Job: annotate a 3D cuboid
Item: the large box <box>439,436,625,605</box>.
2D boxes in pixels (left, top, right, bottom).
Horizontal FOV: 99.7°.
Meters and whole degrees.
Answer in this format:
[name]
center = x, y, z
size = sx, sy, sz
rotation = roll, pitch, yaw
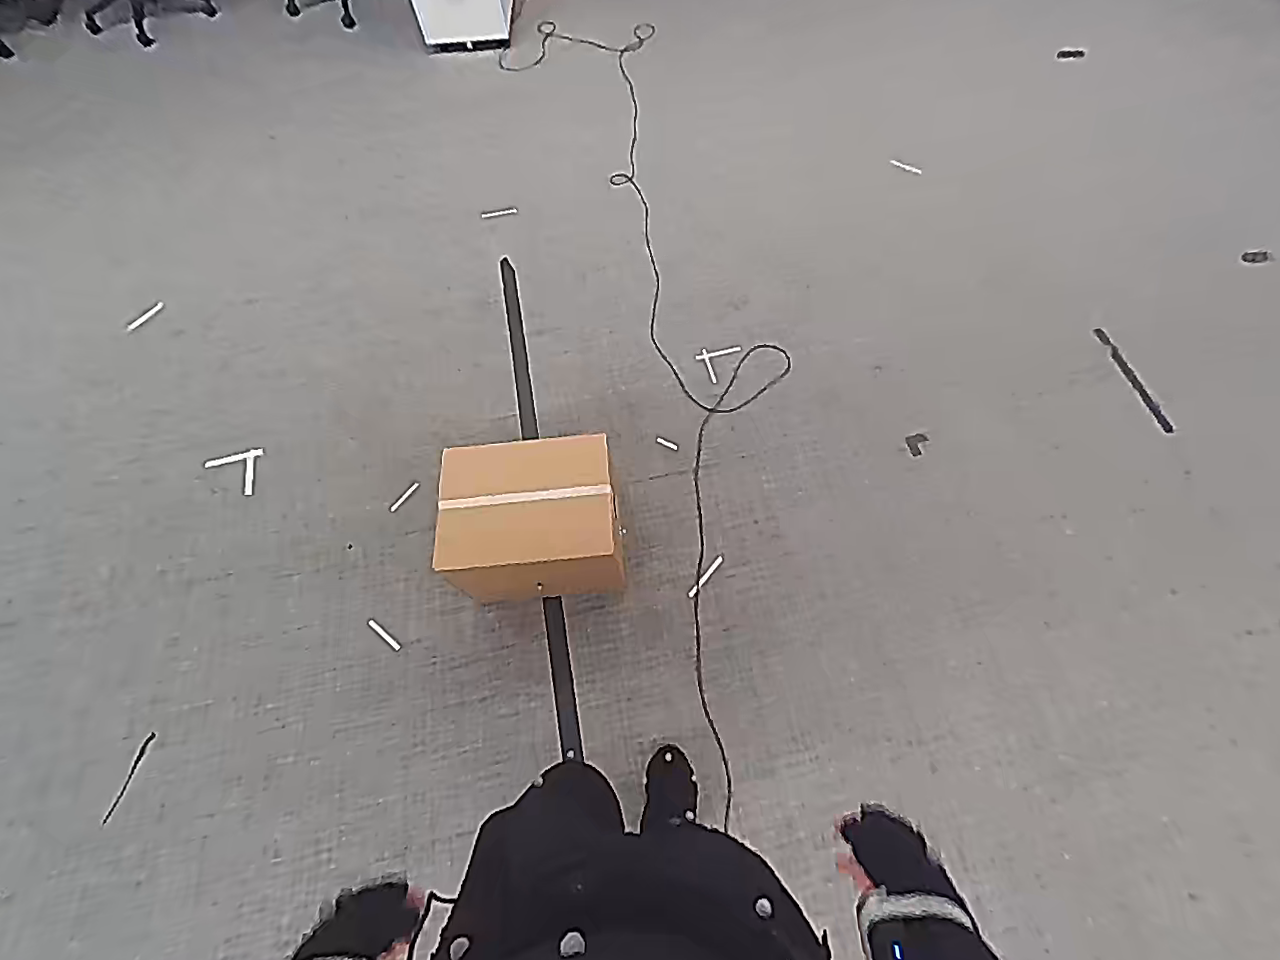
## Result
[large box]
center = -0.255, 0.114, 1.380
size = 0.408, 0.320, 0.320
rotation = -5, 65, 0
